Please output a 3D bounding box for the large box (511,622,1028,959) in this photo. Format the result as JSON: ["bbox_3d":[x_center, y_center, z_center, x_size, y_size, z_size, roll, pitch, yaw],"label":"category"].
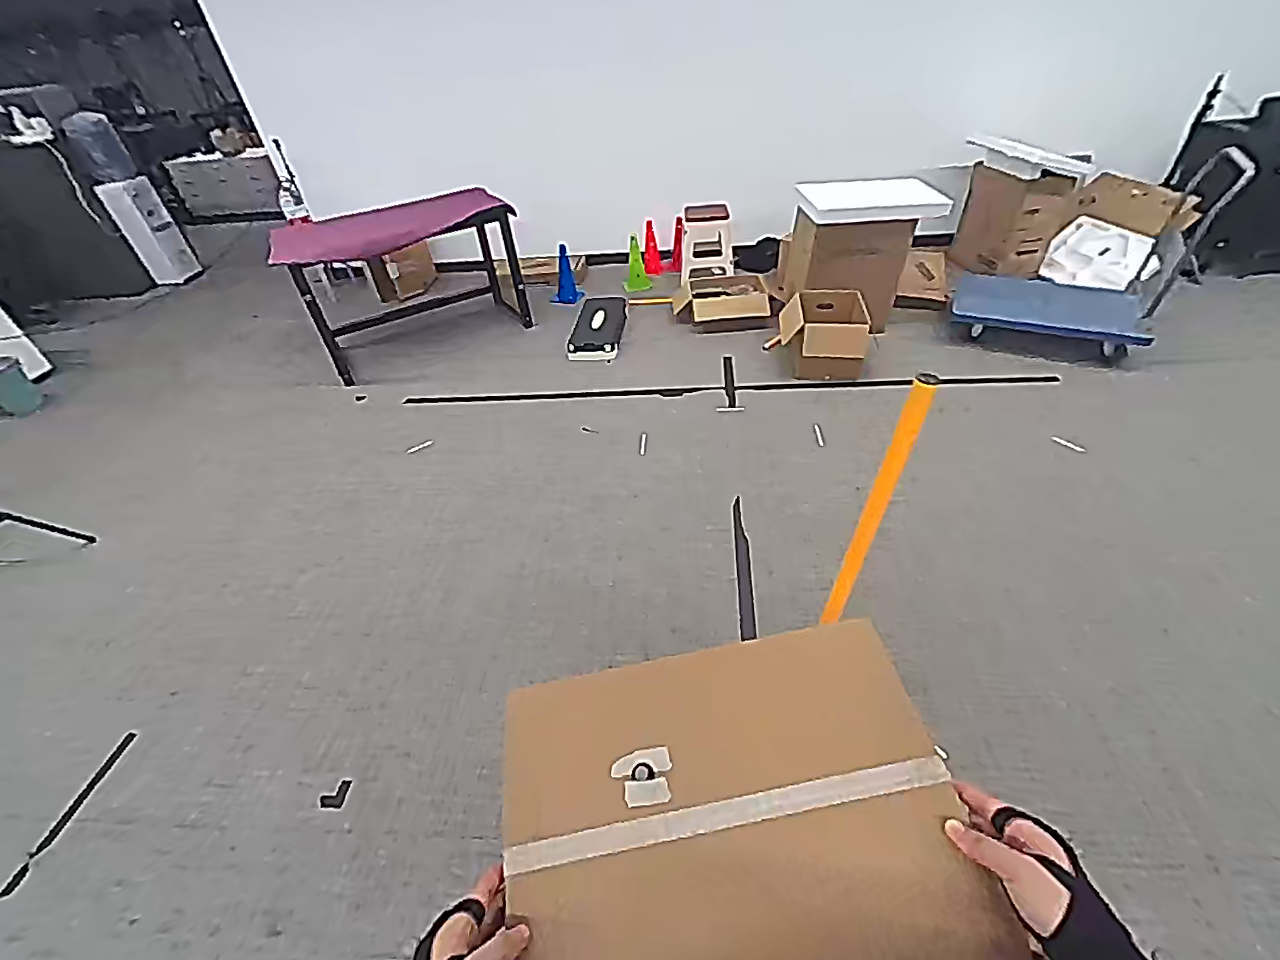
[{"bbox_3d":[0.100,0.409,0.608,0.408,0.320,0.320,-13,47,0],"label":"large box"}]
